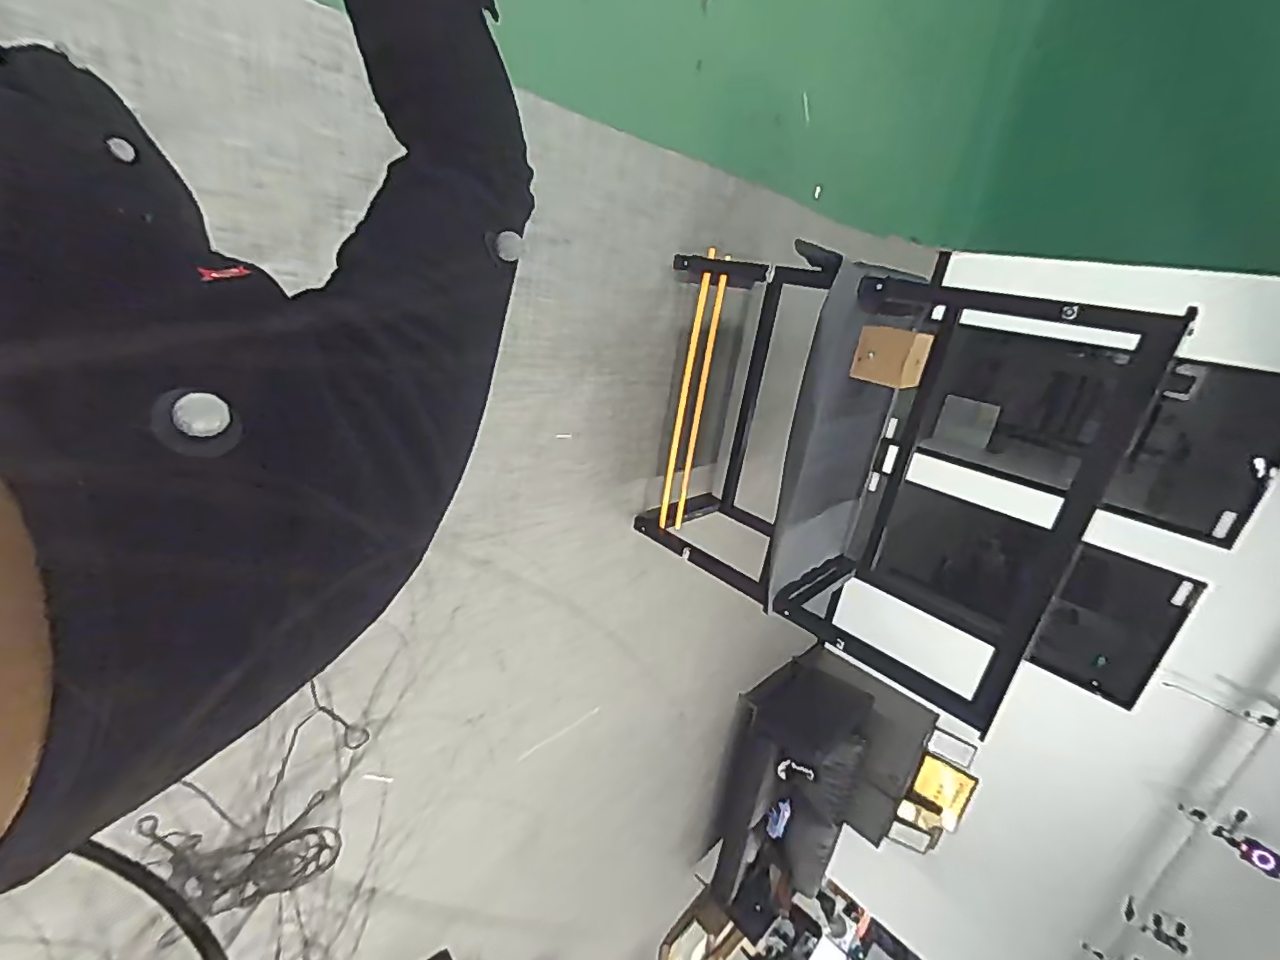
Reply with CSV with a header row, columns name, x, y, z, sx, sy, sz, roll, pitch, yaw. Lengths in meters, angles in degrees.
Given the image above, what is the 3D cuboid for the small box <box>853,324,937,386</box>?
name,x,y,z,sx,sy,sz,roll,pitch,yaw
small box,0.819,-0.405,1.741,0.179,0.176,0.168,-13,120,-44
